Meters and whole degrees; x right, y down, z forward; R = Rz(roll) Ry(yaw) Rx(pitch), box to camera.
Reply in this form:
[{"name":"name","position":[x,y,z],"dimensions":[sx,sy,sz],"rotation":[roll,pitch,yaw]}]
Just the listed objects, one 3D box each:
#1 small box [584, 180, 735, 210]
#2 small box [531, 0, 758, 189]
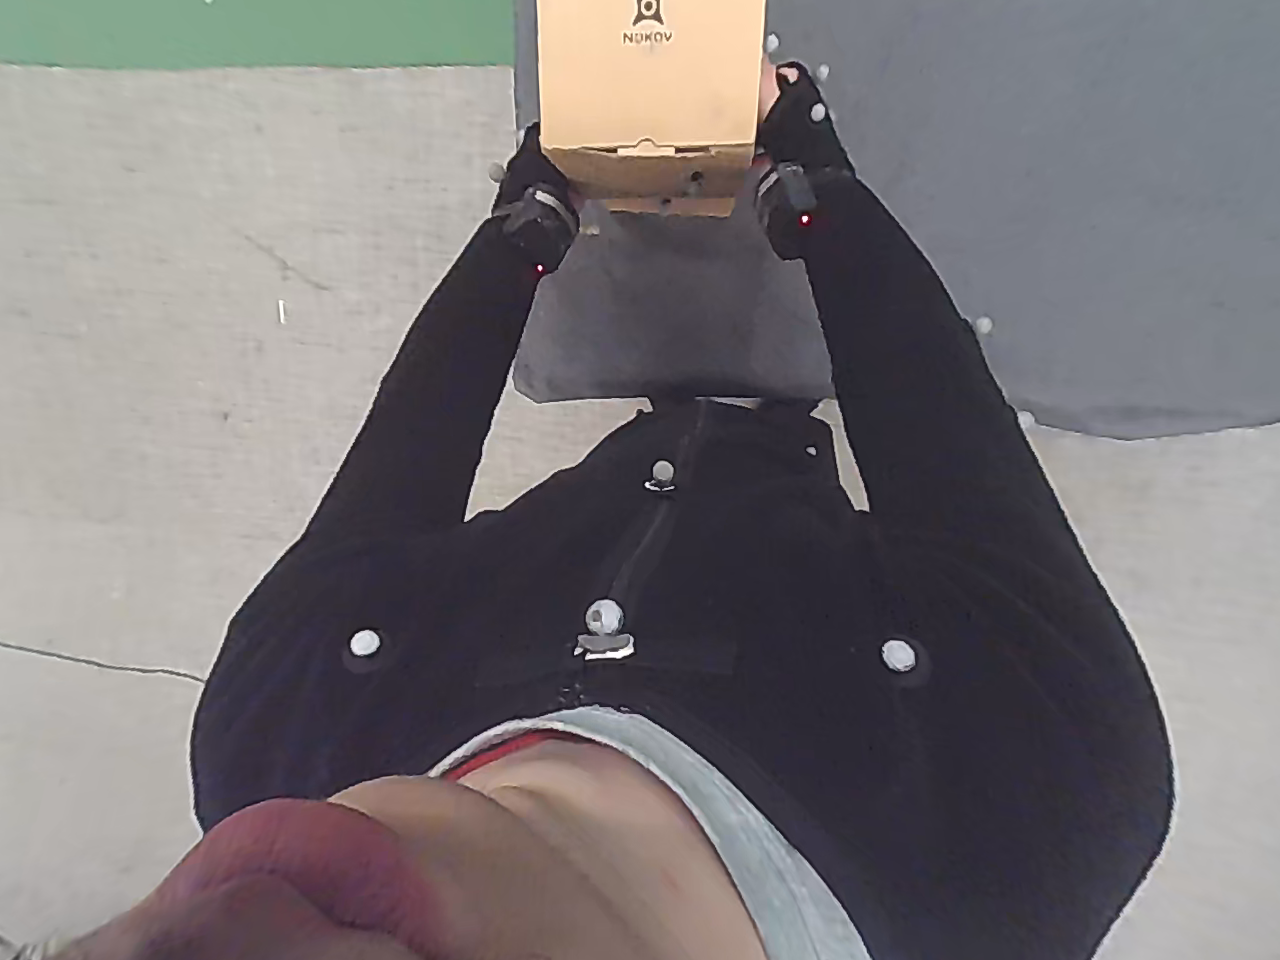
[{"name":"small box","position":[0.033,-0.416,0.611],"dimensions":[0.168,0.176,0.179],"rotation":[5,106,5]},{"name":"small box","position":[0.011,-0.359,0.459],"dimensions":[0.168,0.176,0.179],"rotation":[2,105,6]}]
